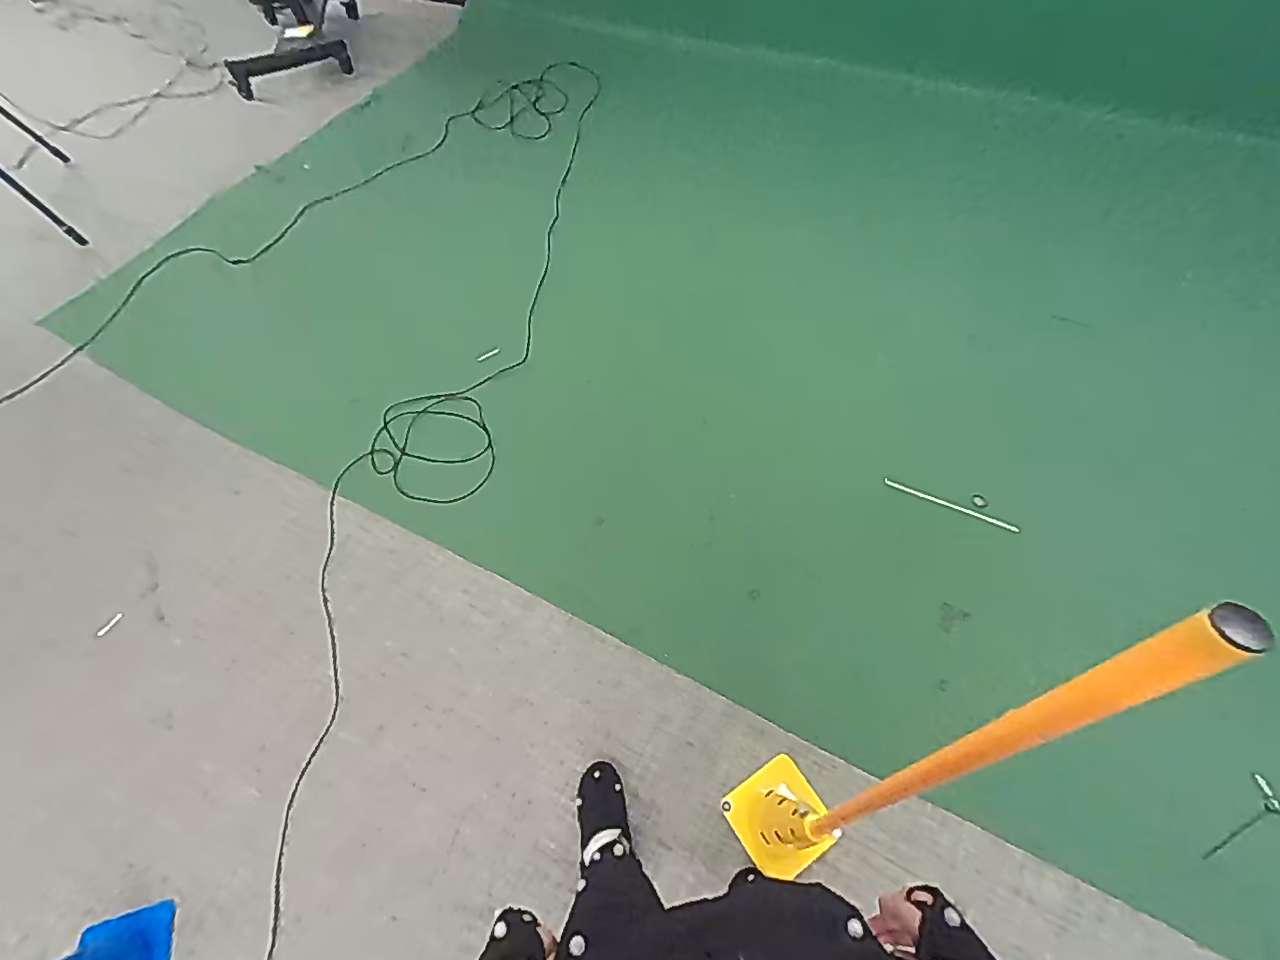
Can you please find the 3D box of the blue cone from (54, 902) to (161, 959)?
[{"bbox_3d":[-1.108,0.943,0.977,0.193,0.380,0.192,-18,62,-5],"label":"blue cone"}]
